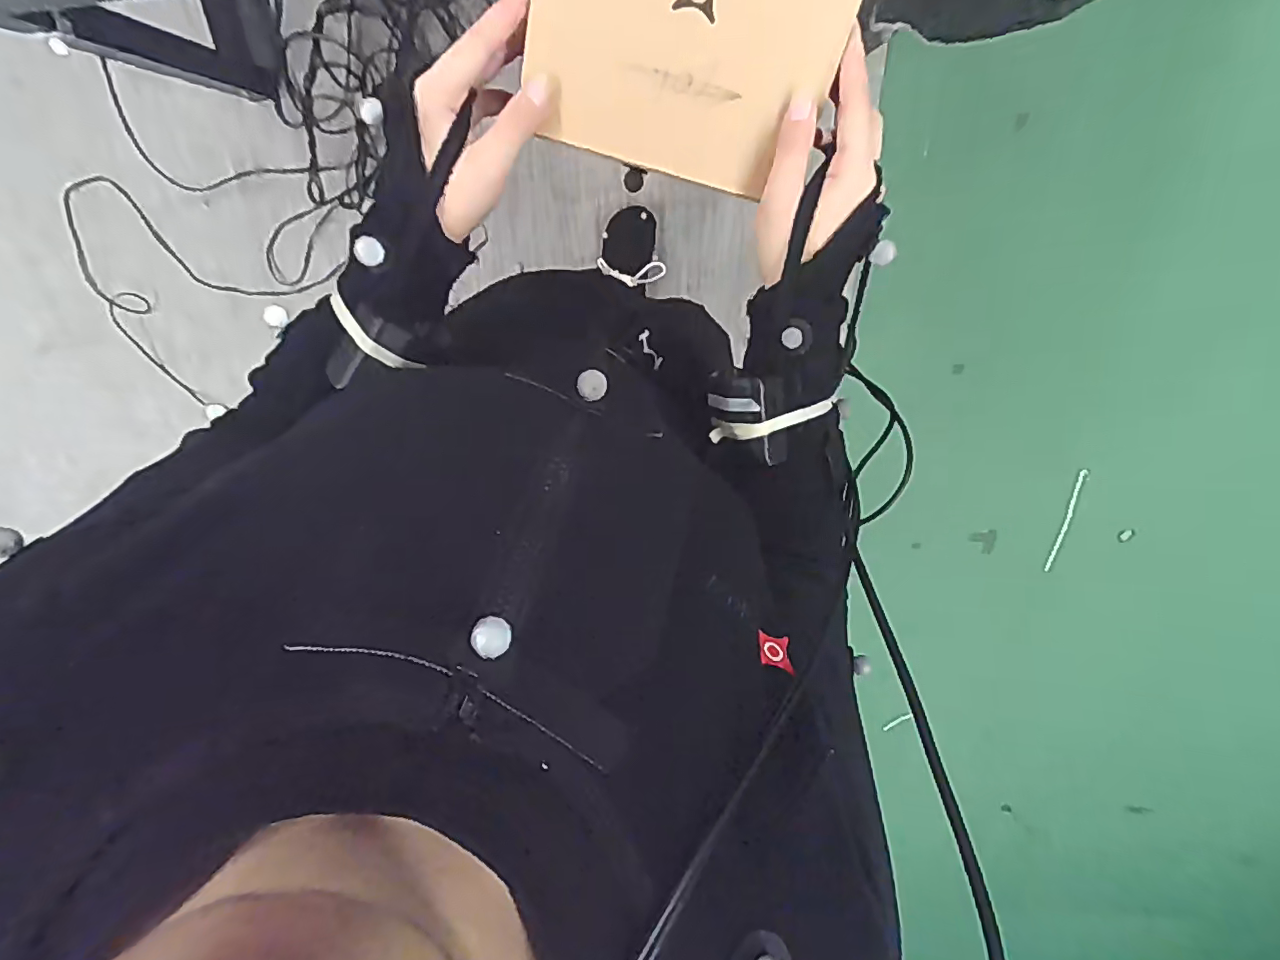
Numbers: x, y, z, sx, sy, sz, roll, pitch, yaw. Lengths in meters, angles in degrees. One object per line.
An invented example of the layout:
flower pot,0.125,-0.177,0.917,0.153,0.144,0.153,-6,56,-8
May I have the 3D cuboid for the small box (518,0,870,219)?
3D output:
small box,0.032,-0.284,0.337,0.168,0.176,0.179,13,120,-7
